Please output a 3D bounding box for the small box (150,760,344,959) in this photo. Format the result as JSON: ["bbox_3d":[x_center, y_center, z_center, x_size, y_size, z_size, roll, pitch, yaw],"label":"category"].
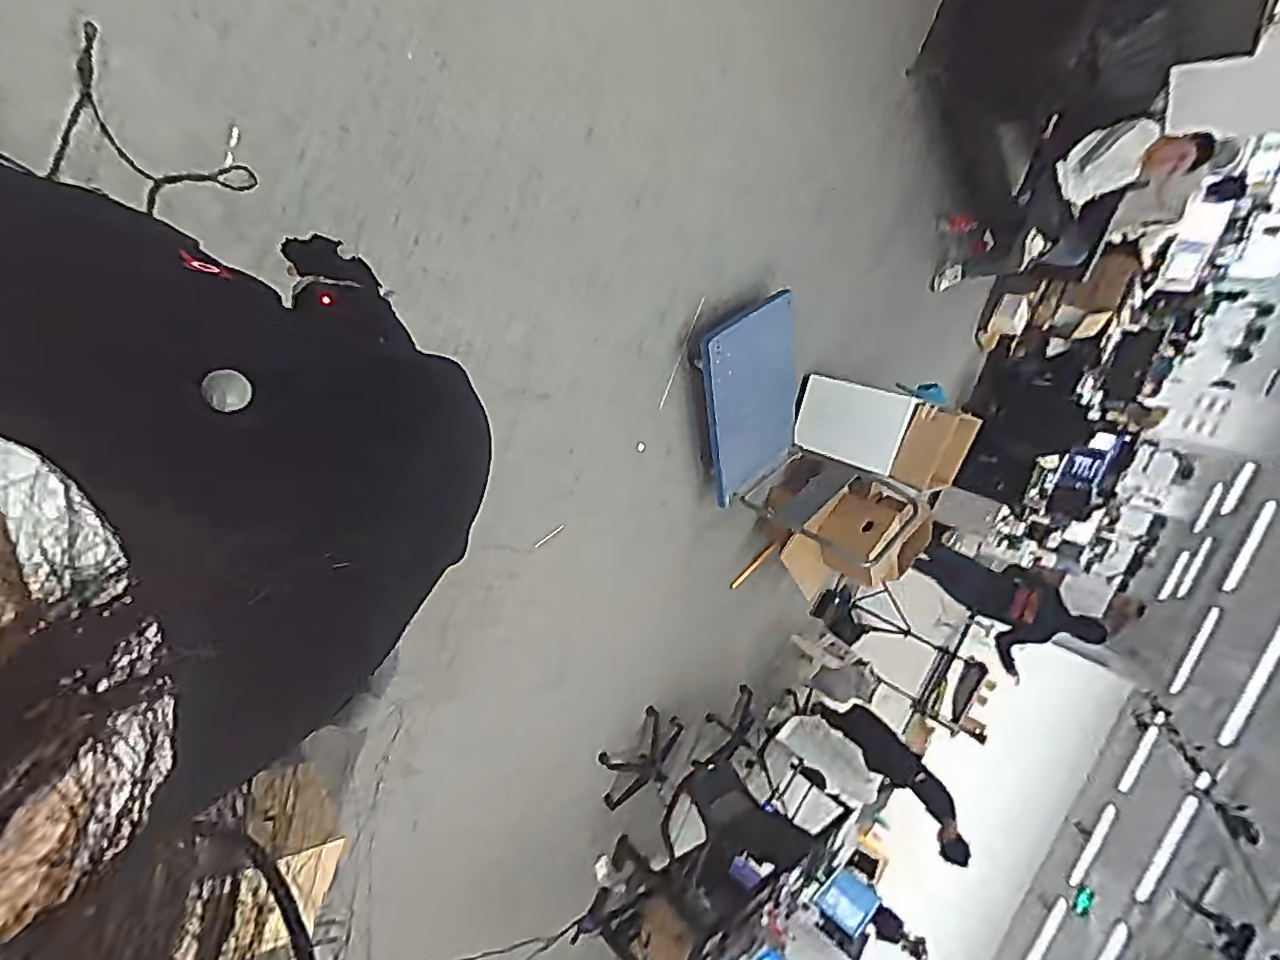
[{"bbox_3d":[-0.567,0.542,0.776,0.179,0.176,0.168,14,100,-50],"label":"small box"}]
